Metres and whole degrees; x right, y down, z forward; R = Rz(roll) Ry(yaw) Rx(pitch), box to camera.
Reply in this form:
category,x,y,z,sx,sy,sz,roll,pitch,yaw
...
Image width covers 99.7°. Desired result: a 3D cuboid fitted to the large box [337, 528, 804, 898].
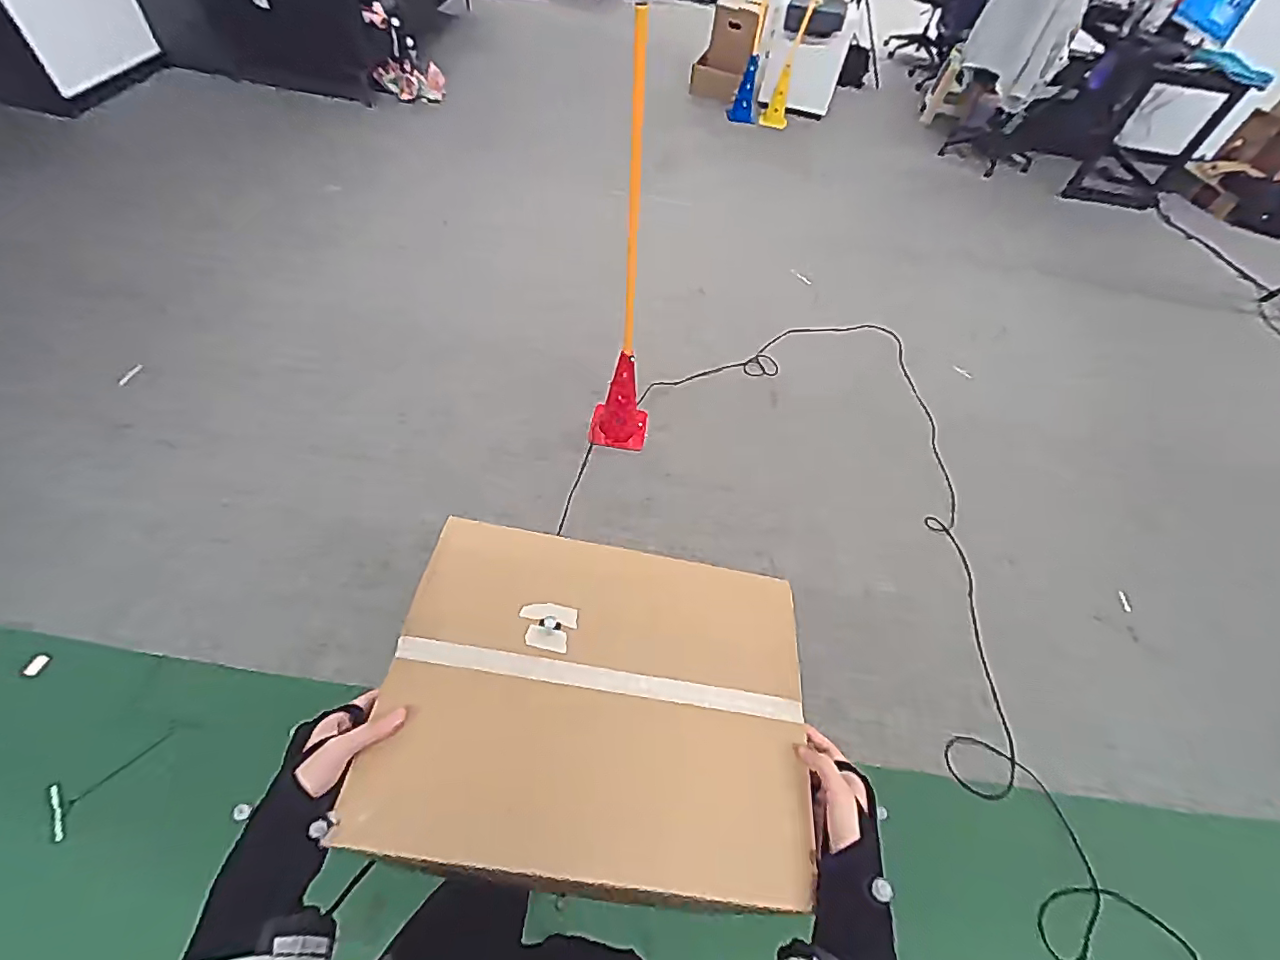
category,x,y,z,sx,sy,sz,roll,pitch,yaw
large box,-0.063,0.296,0.659,0.408,0.320,0.320,11,50,-5
